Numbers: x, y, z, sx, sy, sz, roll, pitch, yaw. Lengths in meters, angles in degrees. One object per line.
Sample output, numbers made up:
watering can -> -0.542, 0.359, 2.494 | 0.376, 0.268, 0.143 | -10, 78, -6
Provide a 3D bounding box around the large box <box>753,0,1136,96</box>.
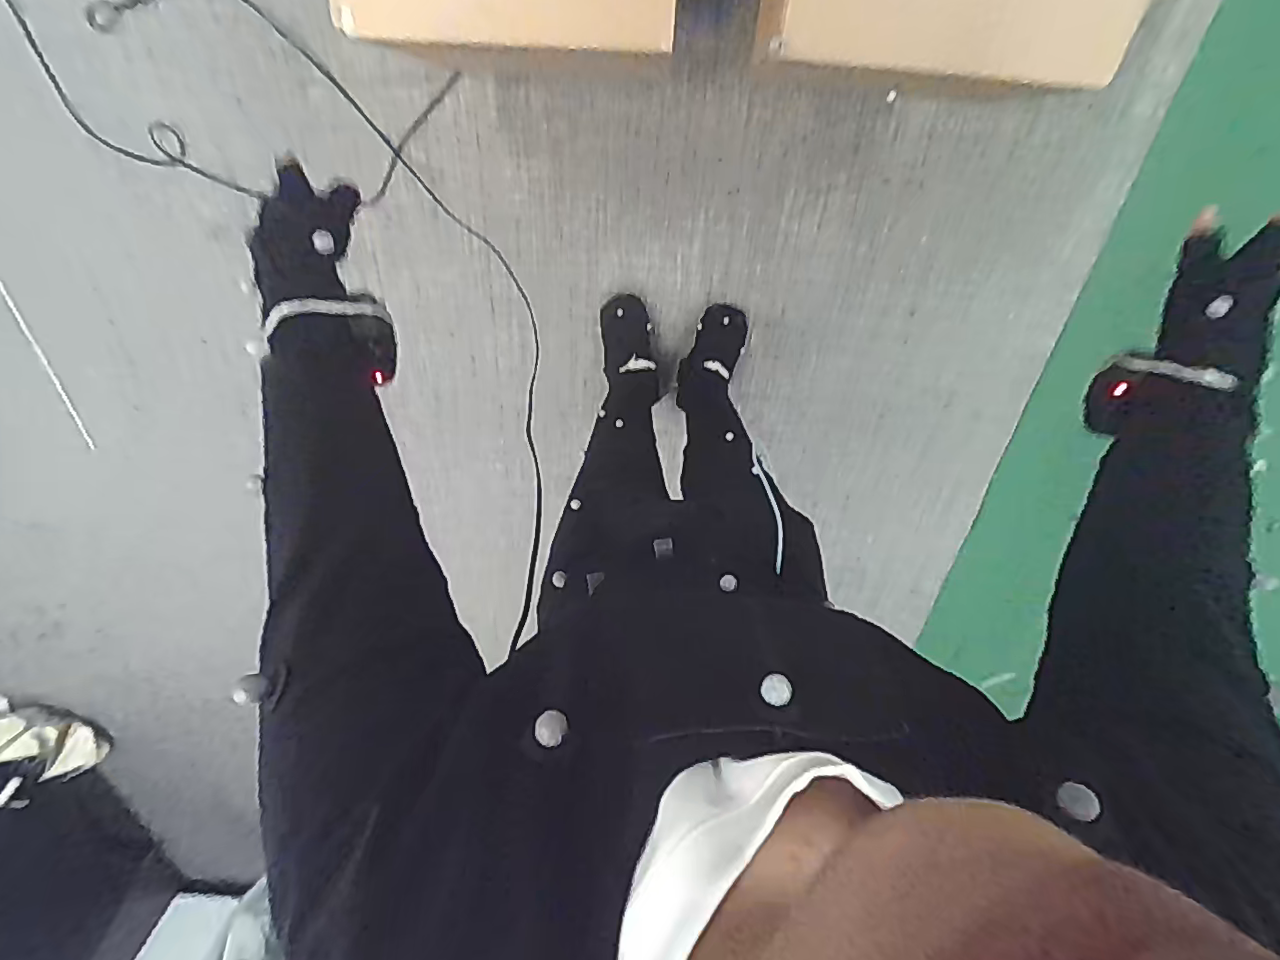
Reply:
large box -> 0.390, -0.709, 0.709 | 0.408, 0.320, 0.320 | 6, 122, 0
